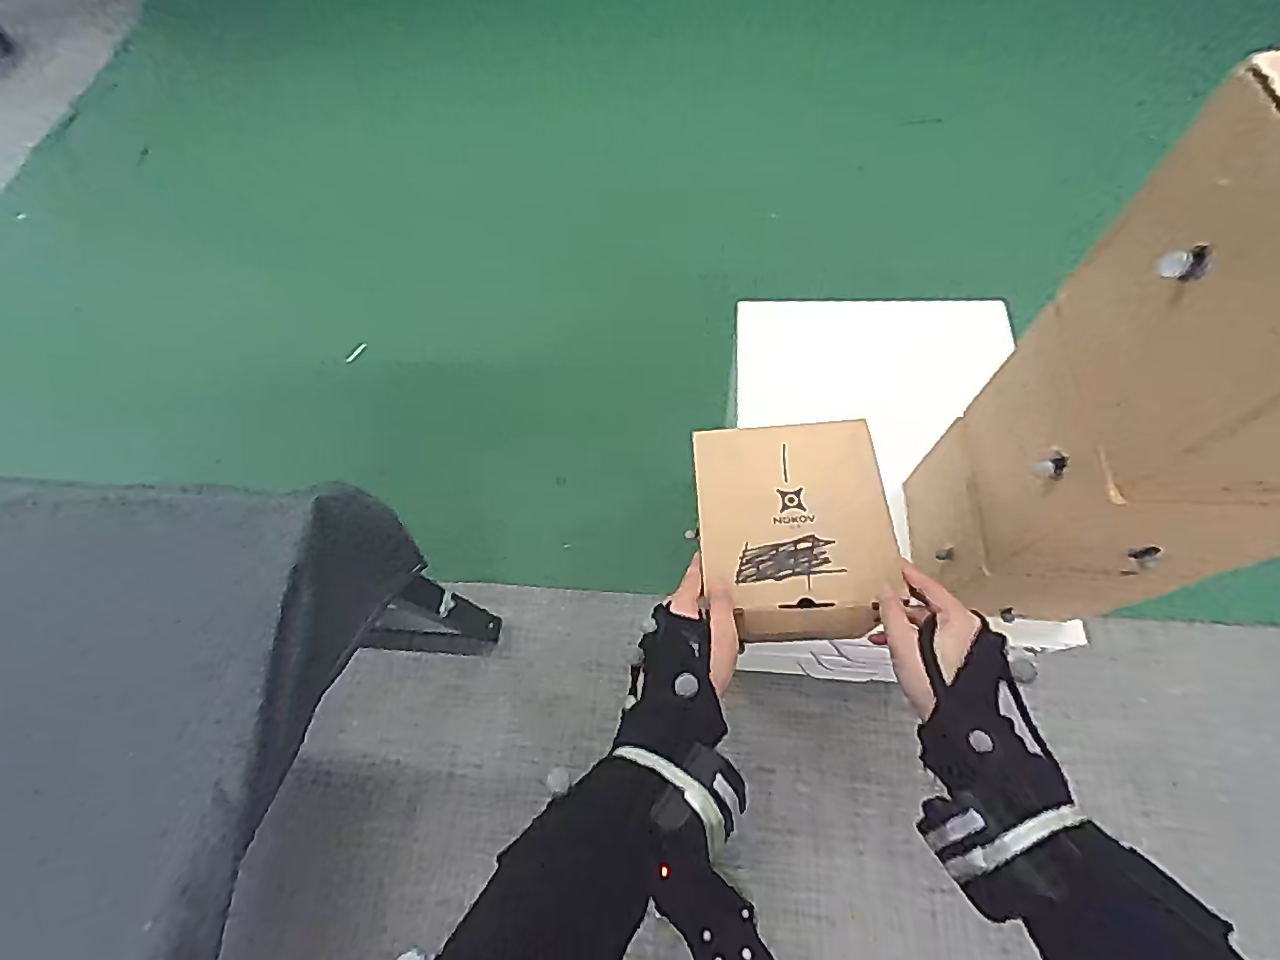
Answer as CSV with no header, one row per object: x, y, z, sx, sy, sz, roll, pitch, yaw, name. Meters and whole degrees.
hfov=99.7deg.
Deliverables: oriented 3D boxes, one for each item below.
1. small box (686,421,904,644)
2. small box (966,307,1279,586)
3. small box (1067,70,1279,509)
0.137,0.064,0.540,0.168,0.176,0.179,-4,63,5,small box
0.402,-0.018,0.450,0.168,0.176,0.179,4,65,7,small box
0.392,-0.095,0.306,0.168,0.176,0.179,1,64,7,small box
